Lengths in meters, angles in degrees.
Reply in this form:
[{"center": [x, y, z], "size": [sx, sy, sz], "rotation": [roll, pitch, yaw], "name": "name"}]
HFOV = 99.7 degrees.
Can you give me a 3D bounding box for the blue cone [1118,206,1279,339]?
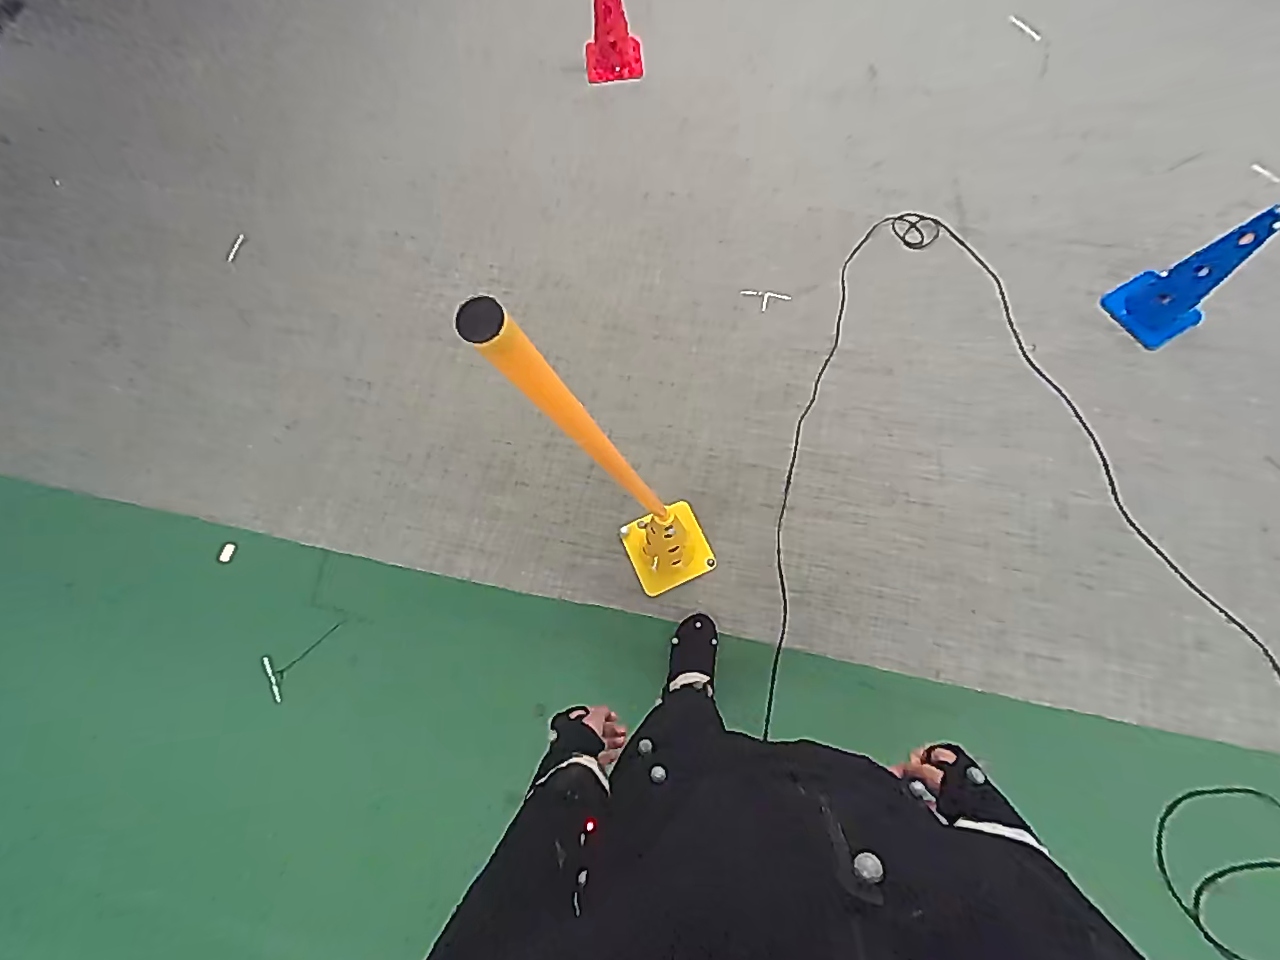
[{"center": [1.427, -0.545, 1.329], "size": [0.193, 0.380, 0.192], "rotation": [-32, 73, -8], "name": "blue cone"}]
